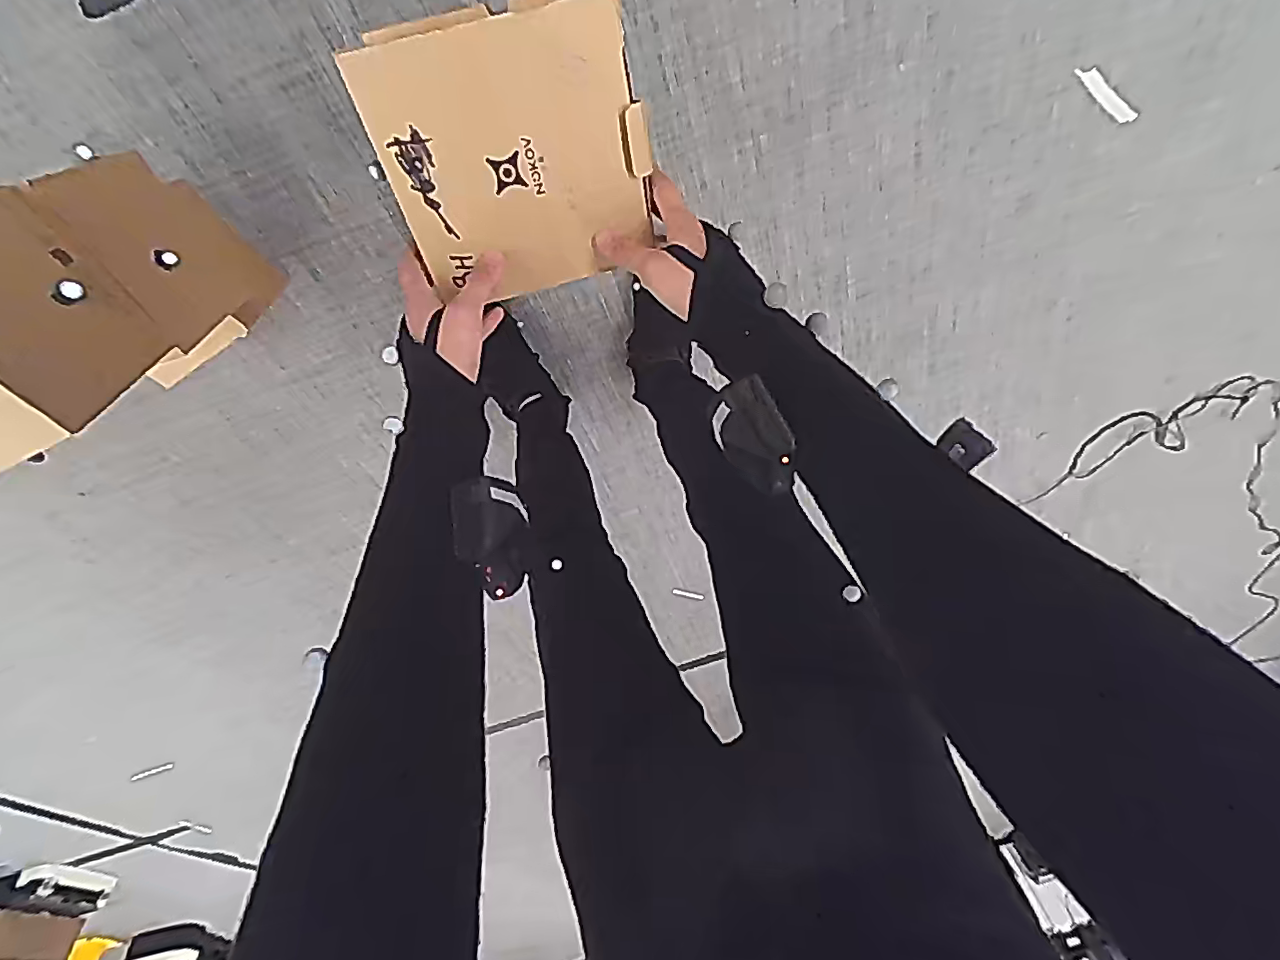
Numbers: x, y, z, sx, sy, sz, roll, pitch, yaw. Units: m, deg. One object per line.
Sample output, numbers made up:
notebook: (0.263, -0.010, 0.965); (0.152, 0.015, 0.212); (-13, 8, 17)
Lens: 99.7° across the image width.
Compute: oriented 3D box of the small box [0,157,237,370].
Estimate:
small box: (-0.591, -0.223, 0.577); (0.168, 0.176, 0.179); (-16, 131, 3)

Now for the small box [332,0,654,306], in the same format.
small box: (-0.103, -0.266, 0.429); (0.179, 0.176, 0.168); (-16, 131, -3)

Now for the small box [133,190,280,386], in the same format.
small box: (-0.650, -0.269, 0.742); (0.168, 0.176, 0.179); (-28, 130, 12)

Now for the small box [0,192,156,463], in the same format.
small box: (-0.580, -0.113, 0.454); (0.179, 0.176, 0.168); (-22, 130, 8)
